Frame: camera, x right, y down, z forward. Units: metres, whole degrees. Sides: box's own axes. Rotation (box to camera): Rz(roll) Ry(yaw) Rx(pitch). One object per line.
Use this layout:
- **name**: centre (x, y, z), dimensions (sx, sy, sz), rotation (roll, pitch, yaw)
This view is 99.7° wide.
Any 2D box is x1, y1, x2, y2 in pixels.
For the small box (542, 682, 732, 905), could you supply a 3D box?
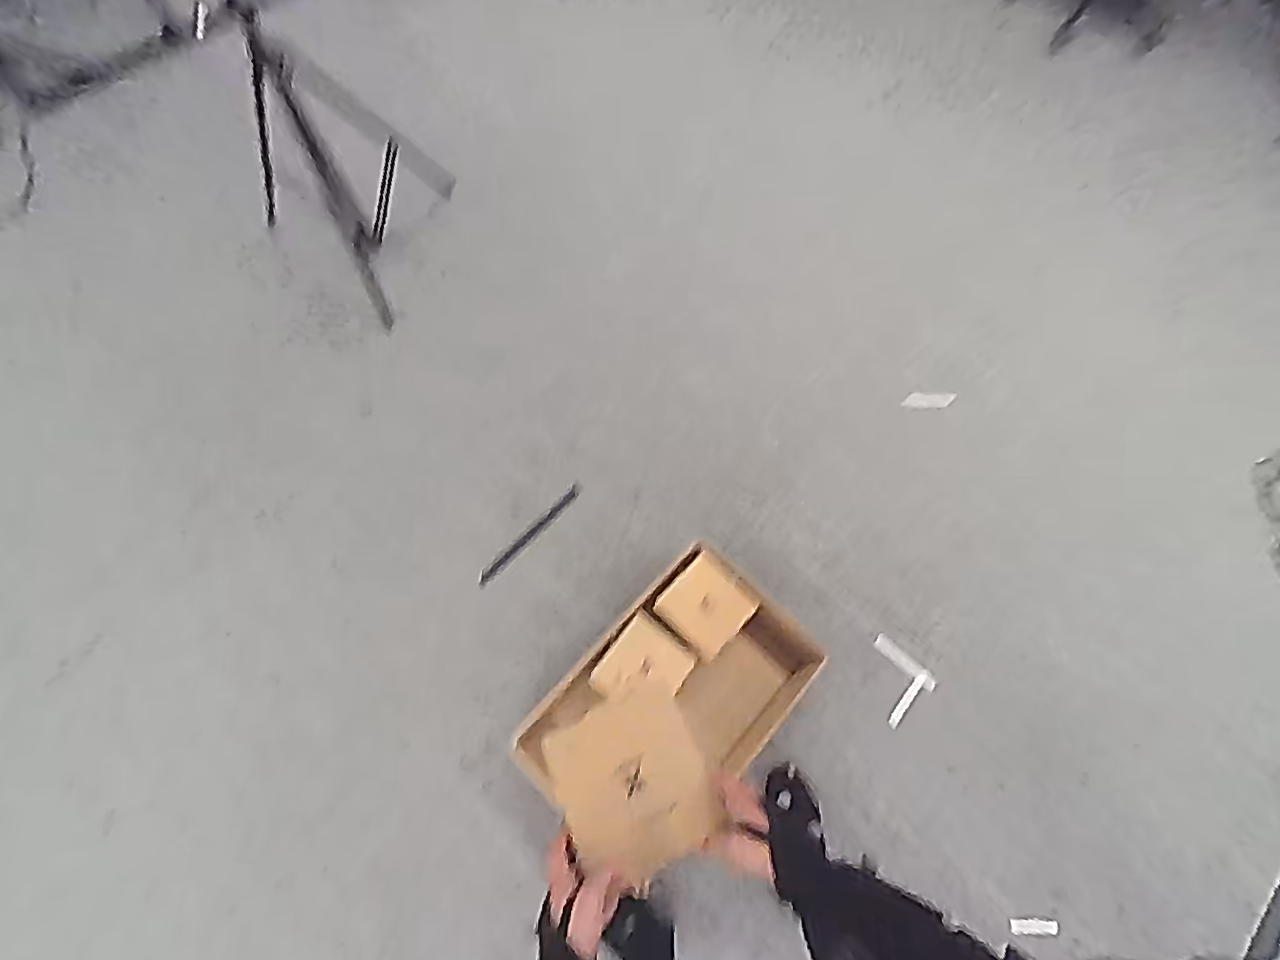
- **small box**: centre (-0.008, 0.387, 0.669), dimensions (0.168, 0.176, 0.179), rotation (-21, 56, -14)

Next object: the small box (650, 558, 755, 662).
- **small box**: centre (0.140, 0.317, 1.289), dimensions (0.179, 0.176, 0.168), rotation (43, 75, 11)
